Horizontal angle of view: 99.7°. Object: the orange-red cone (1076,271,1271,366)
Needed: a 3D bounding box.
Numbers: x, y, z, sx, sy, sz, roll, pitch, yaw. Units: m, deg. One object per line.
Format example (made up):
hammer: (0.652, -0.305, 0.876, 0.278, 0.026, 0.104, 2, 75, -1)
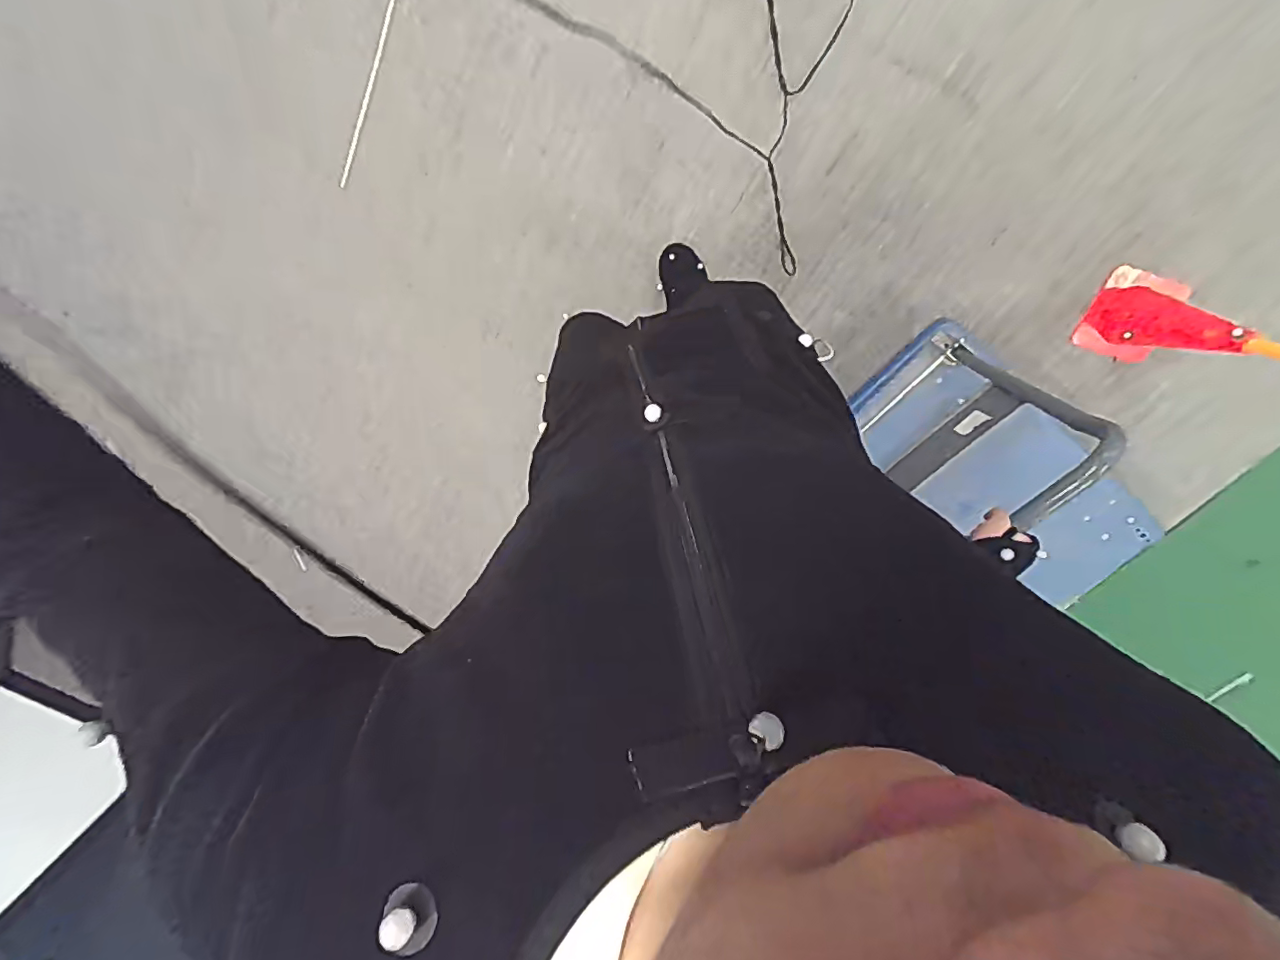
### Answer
orange-red cone: (1.215, -0.331, 1.201, 0.198, 0.360, 0.199, 18, 115, -2)
